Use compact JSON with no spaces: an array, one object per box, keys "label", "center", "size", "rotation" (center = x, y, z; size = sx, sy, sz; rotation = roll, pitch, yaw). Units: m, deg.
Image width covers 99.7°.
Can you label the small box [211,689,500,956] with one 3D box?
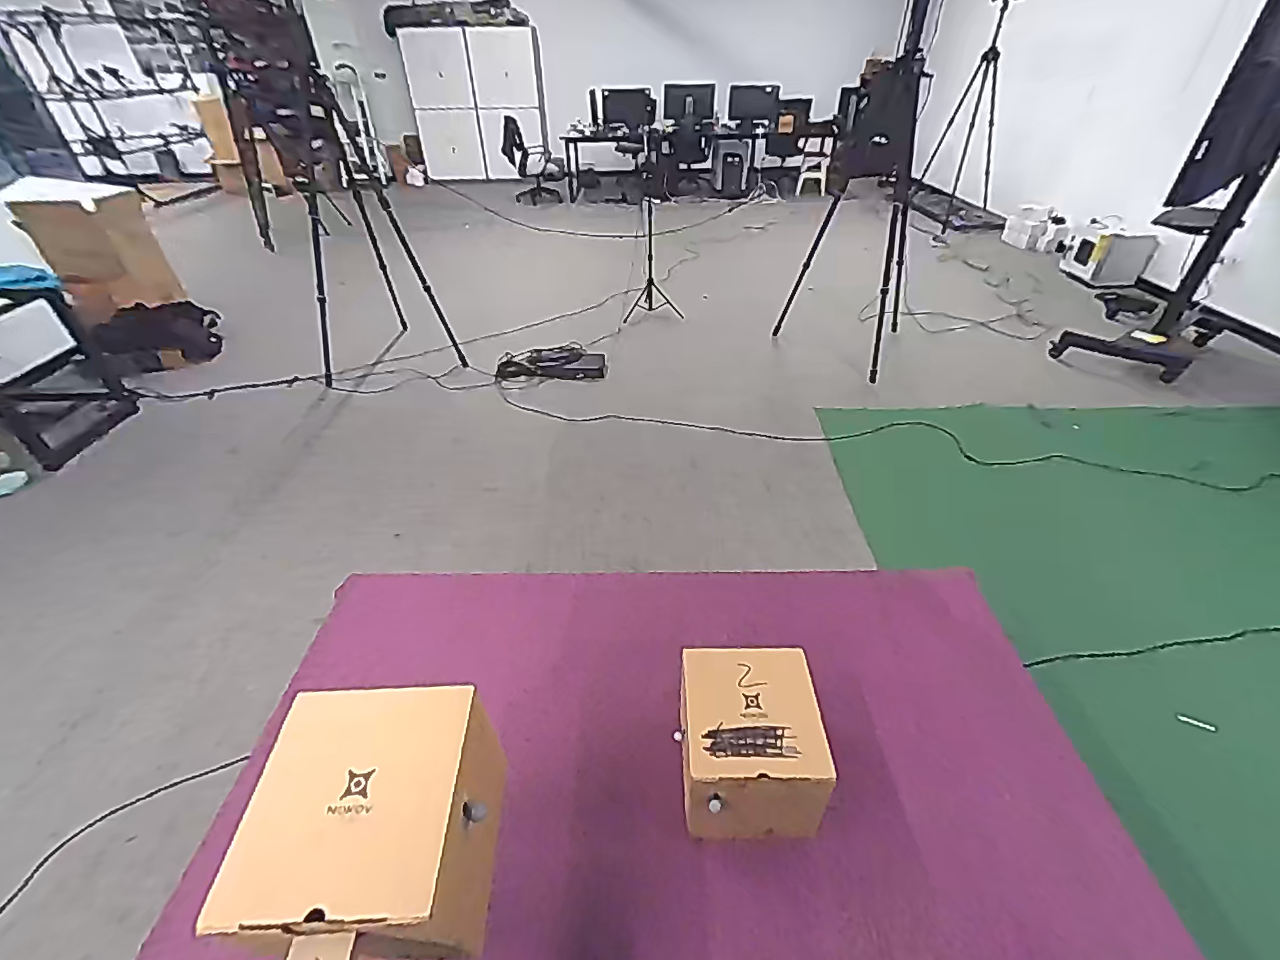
[{"label":"small box","center":[-0.236,0.319,0.509],"size":[0.168,0.176,0.179],"rotation":[-2,43,-1]}]
